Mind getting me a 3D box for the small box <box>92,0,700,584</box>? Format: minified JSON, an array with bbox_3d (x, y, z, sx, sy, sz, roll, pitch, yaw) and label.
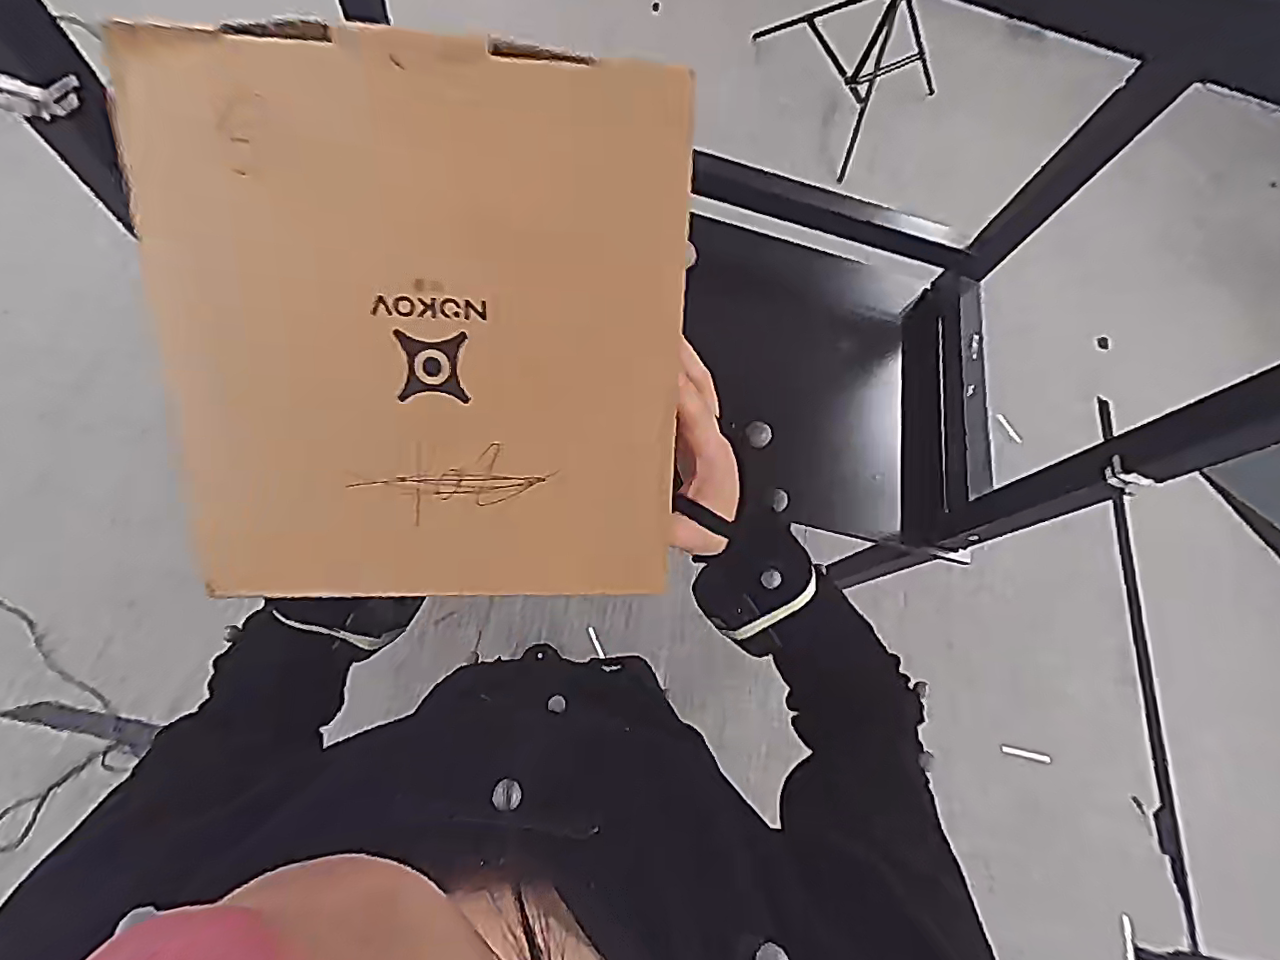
[{"bbox_3d":[-0.073,-0.069,0.249,0.168,0.176,0.179,0,107,-4],"label":"small box"}]
